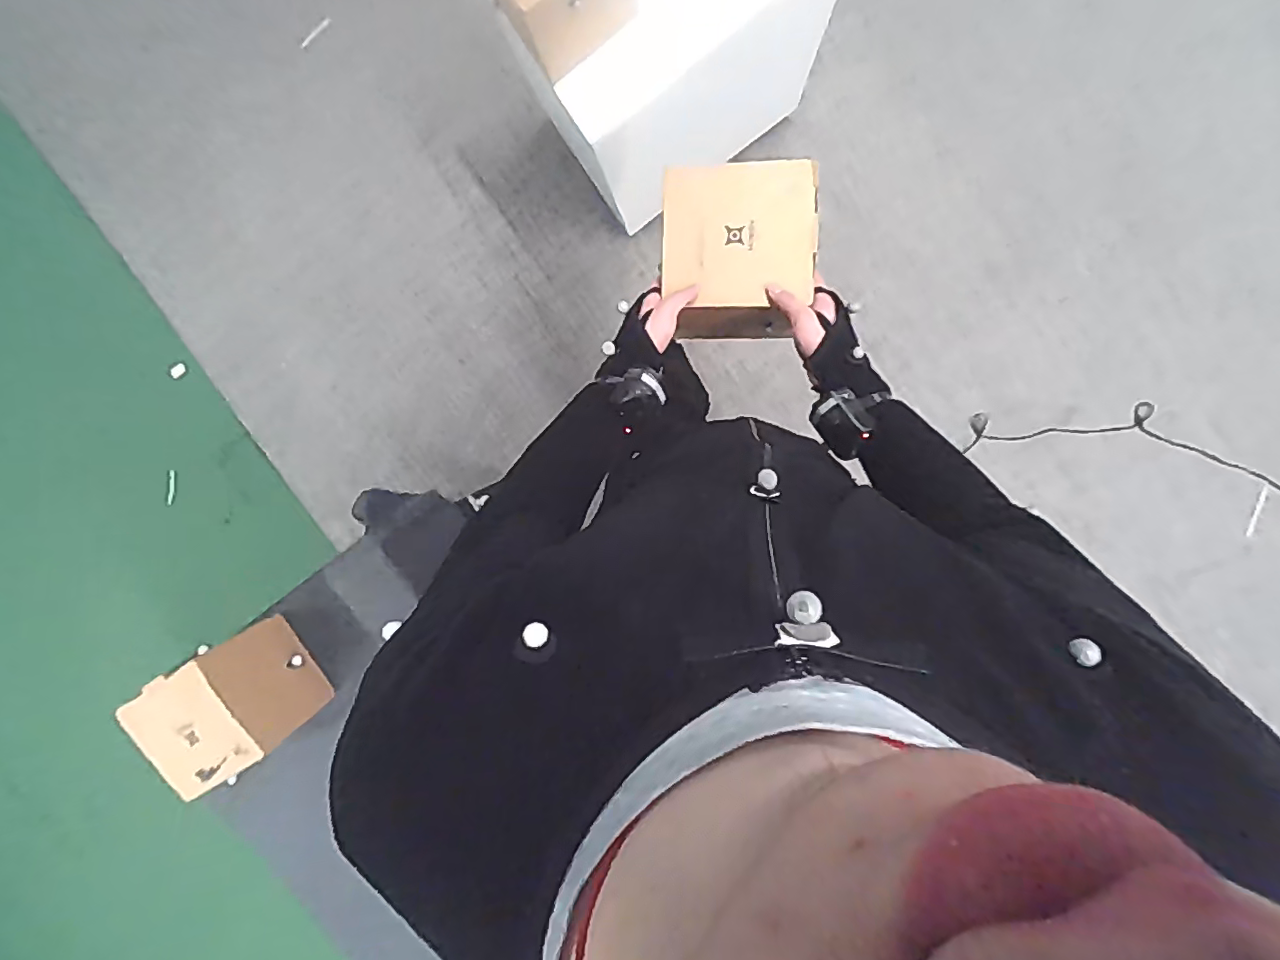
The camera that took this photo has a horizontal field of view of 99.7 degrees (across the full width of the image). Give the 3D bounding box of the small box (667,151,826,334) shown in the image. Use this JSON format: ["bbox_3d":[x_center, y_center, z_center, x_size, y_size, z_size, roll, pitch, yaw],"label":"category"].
[{"bbox_3d":[0.128,-0.287,0.687,0.179,0.176,0.168,1,92,8],"label":"small box"}]

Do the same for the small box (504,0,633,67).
[{"bbox_3d":[-0.120,-0.734,0.747,0.179,0.176,0.168,-34,96,8],"label":"small box"}]

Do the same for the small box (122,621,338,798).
[{"bbox_3d":[-0.637,0.349,0.862,0.168,0.176,0.179,-31,97,10],"label":"small box"}]
